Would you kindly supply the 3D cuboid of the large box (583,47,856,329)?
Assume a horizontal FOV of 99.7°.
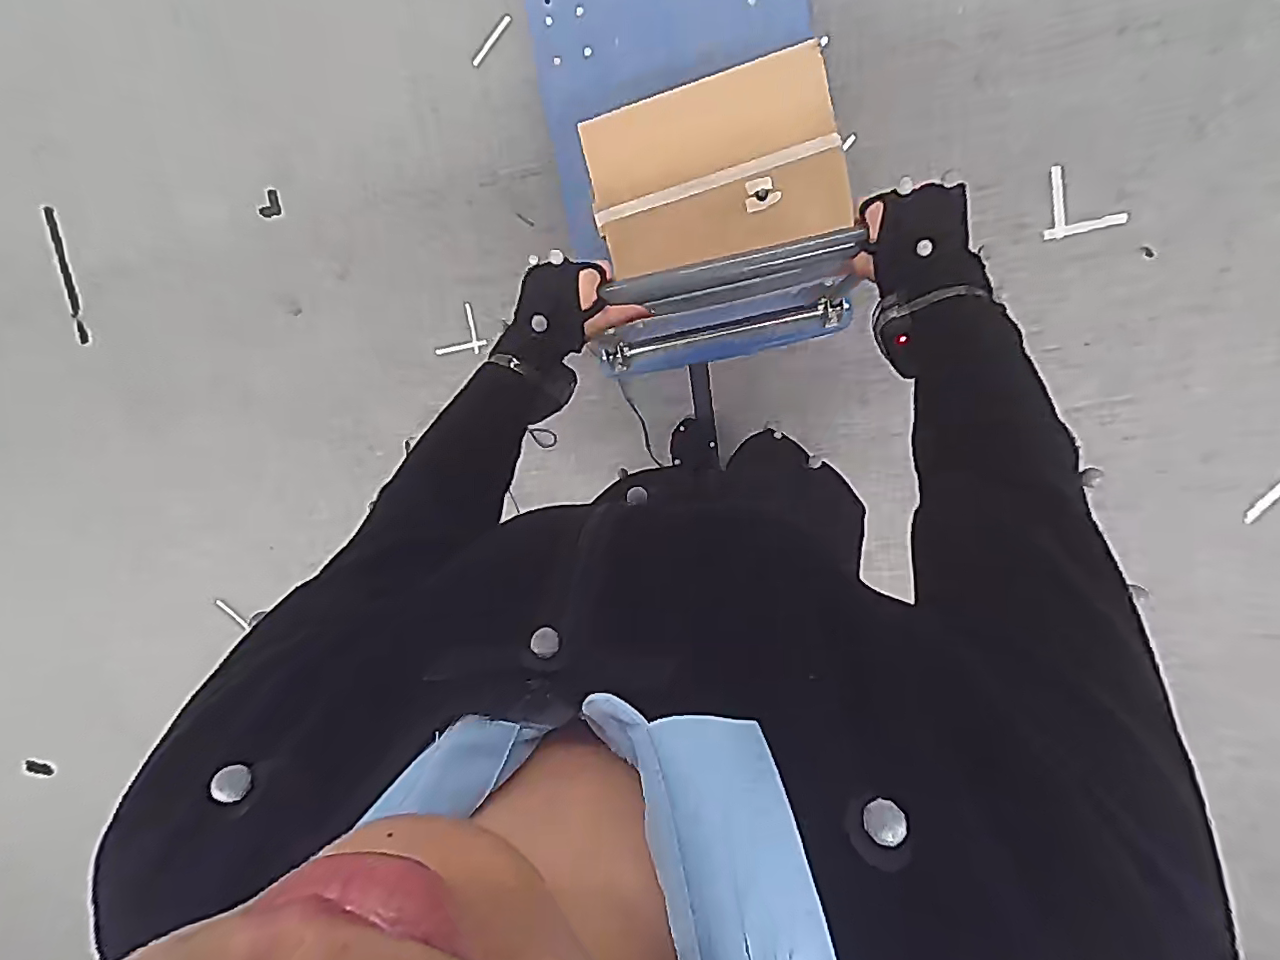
[{"bbox_3d":[0.146,-0.517,1.053,0.408,0.320,0.320,-14,98,9],"label":"large box"}]
